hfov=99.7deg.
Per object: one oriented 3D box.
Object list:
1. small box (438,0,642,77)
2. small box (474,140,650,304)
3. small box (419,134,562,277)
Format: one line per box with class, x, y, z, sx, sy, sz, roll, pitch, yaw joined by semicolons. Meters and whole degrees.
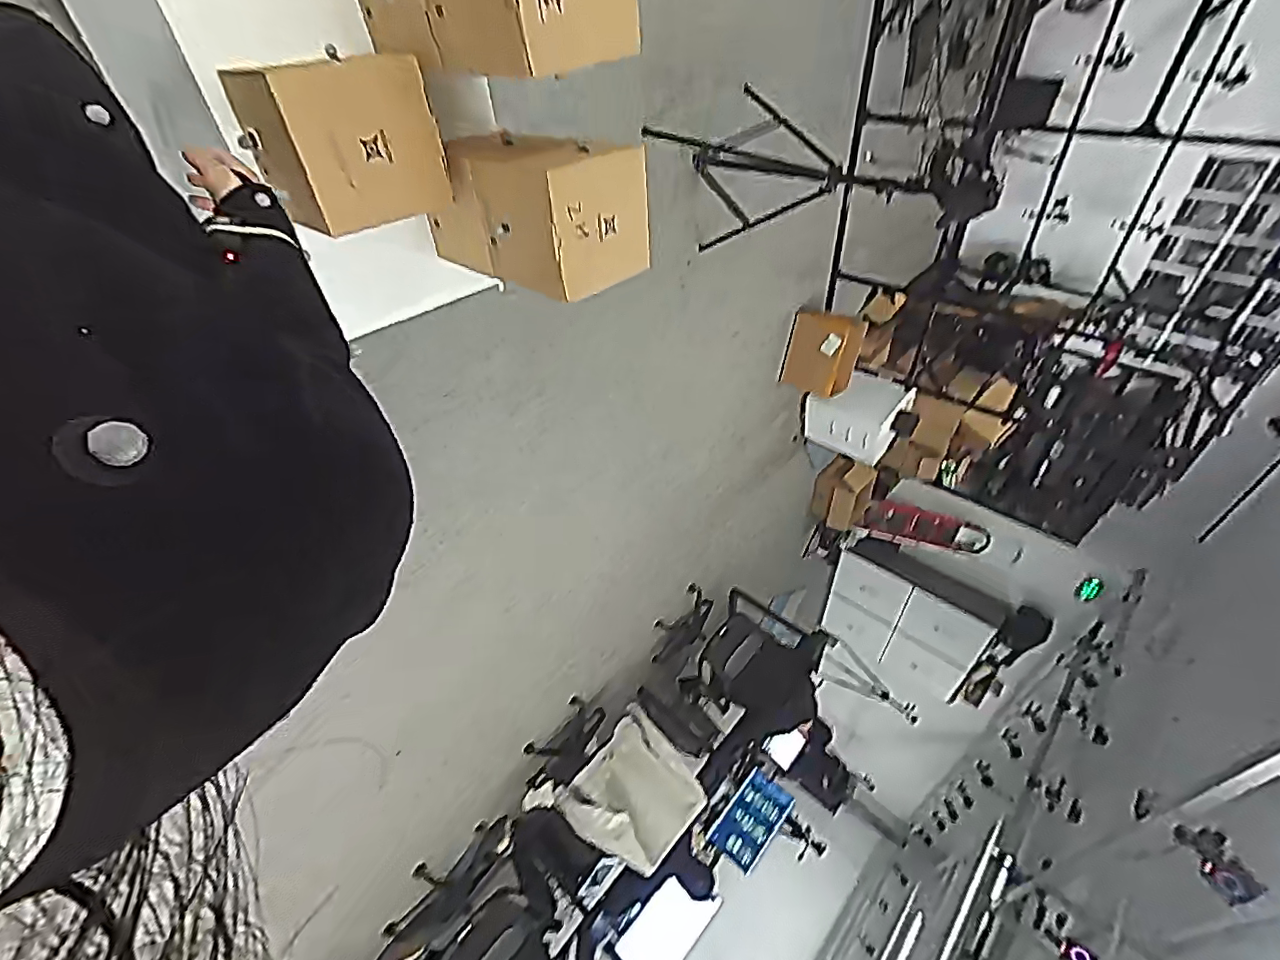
small box;-0.122;-0.566;0.608;0.179;0.176;0.168;-39;142;-29
small box;-0.106;-0.379;0.780;0.179;0.176;0.168;-36;140;-32
small box;-0.229;-0.446;0.869;0.179;0.176;0.168;-36;140;-32
